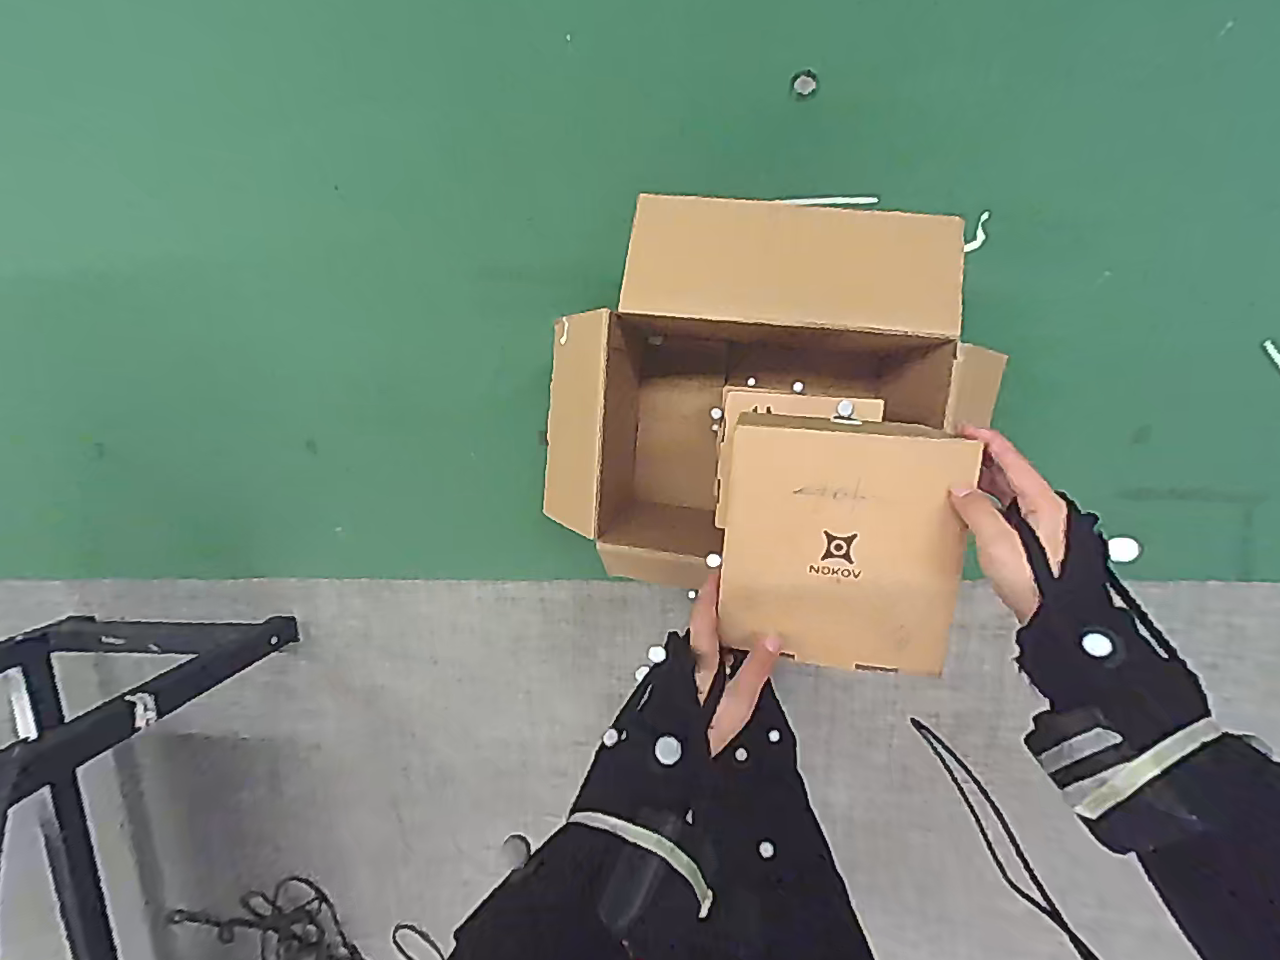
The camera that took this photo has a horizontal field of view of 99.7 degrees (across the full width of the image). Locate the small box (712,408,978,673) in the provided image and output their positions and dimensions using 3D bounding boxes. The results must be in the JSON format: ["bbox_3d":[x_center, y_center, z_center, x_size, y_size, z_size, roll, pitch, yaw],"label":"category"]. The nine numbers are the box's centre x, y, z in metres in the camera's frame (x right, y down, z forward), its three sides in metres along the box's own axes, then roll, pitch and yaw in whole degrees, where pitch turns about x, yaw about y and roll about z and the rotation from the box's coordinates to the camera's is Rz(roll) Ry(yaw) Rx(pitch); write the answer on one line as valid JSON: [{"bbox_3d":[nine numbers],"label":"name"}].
[{"bbox_3d":[0.156,0.034,0.464,0.168,0.176,0.179,5,100,10],"label":"small box"}]
